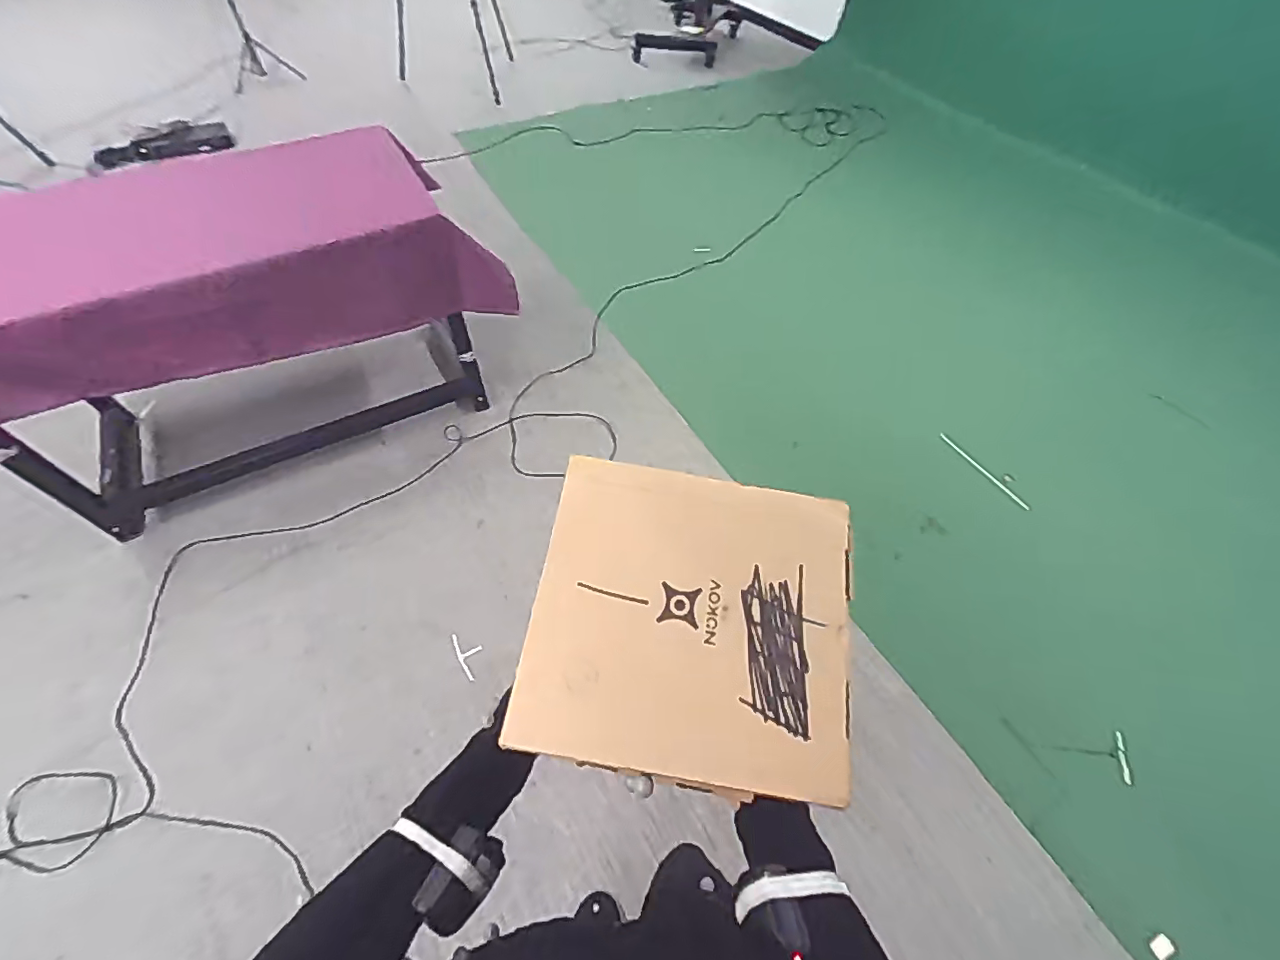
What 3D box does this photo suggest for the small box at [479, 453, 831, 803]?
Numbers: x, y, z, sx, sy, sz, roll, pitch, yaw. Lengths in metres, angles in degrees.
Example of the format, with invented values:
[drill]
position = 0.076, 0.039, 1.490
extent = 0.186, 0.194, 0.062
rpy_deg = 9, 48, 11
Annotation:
[small box]
position = 0.013, 0.104, 0.371
extent = 0.179, 0.176, 0.168
rpy_deg = 10, 64, 1
